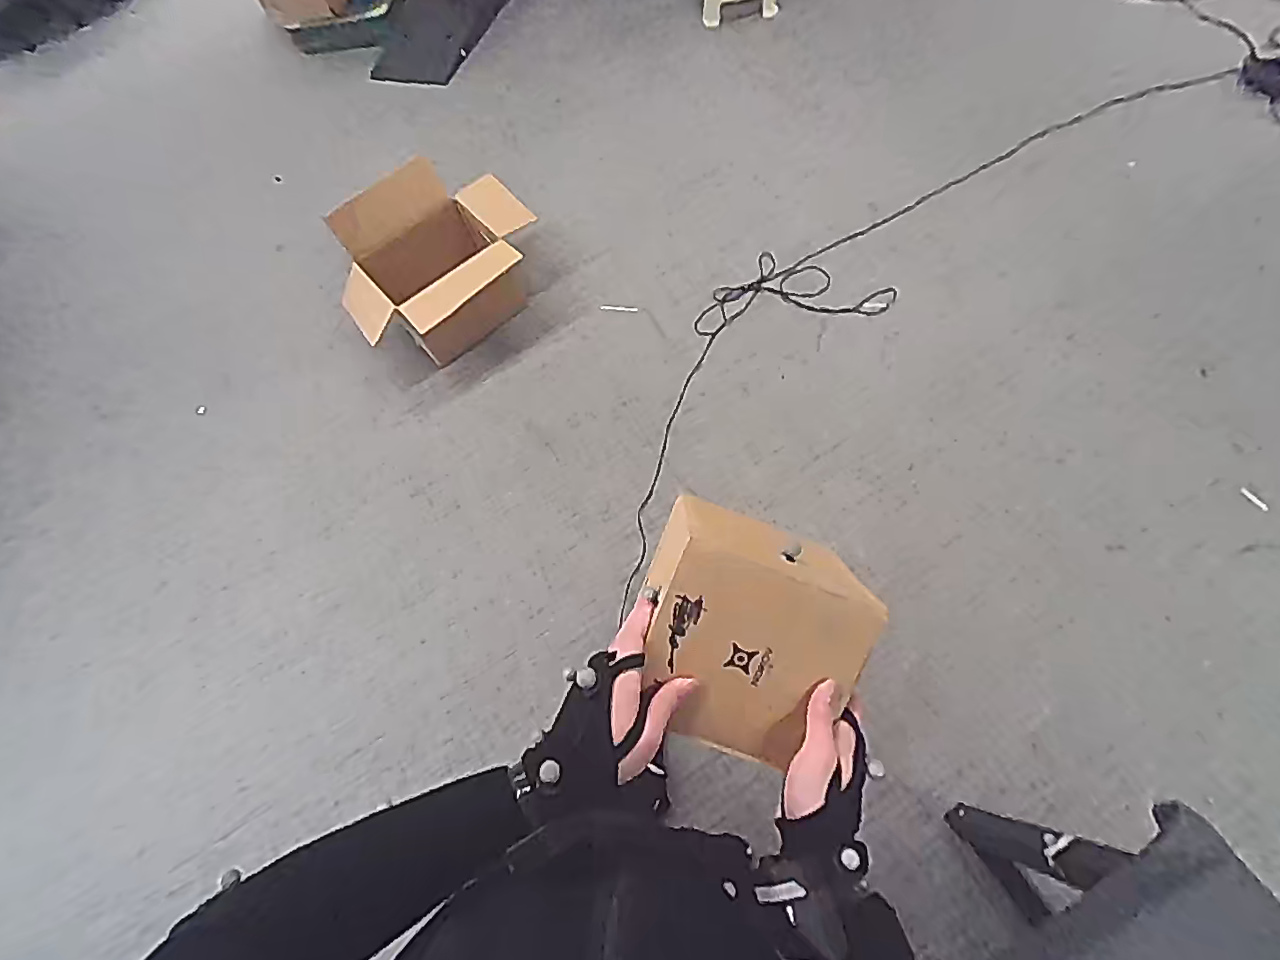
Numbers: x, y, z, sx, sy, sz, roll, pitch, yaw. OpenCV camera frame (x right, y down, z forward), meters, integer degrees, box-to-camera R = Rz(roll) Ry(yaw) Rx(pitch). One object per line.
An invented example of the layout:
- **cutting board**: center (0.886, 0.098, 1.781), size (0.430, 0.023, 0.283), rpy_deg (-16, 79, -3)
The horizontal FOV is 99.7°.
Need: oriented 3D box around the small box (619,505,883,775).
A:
- **small box**: center (0.092, 0.138, 0.527), size (0.179, 0.176, 0.168), rpy_deg (21, 99, -3)
